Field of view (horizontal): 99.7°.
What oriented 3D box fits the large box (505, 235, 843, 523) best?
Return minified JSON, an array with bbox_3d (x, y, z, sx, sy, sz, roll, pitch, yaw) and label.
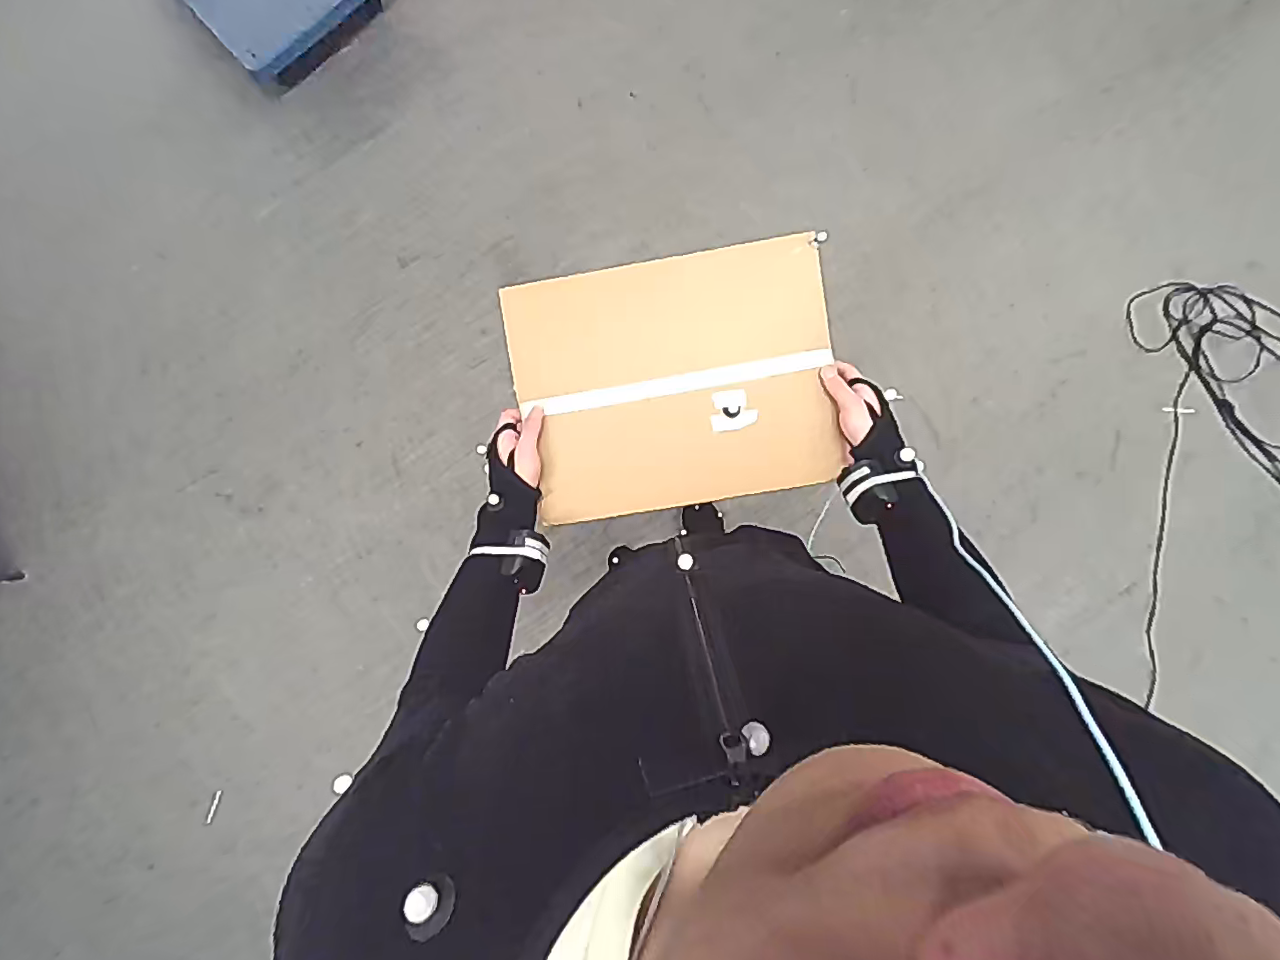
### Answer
[{"bbox_3d":[0.047,-0.135,0.850,0.408,0.320,0.320,-10,94,2],"label":"large box"}]
